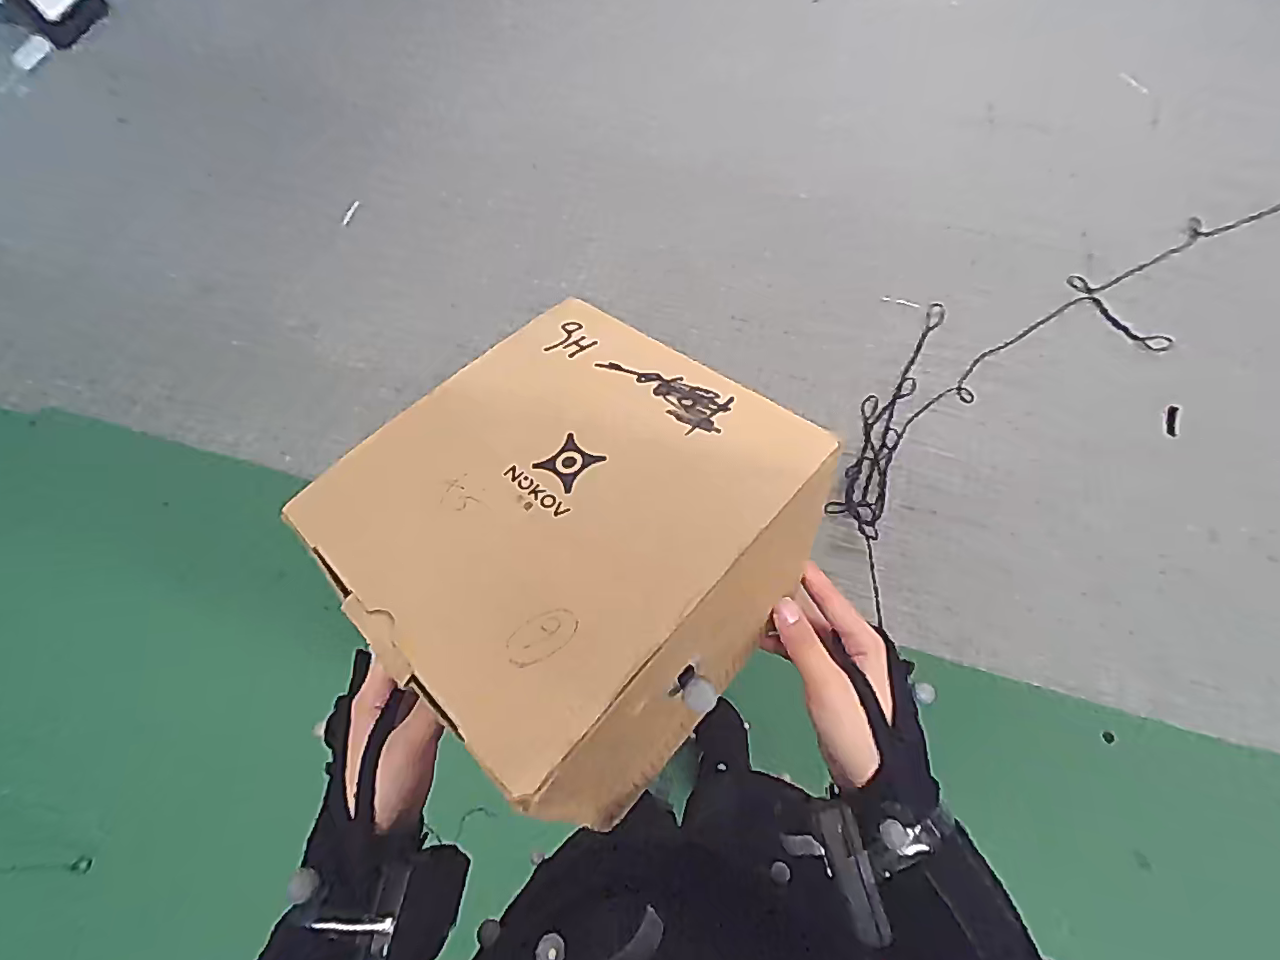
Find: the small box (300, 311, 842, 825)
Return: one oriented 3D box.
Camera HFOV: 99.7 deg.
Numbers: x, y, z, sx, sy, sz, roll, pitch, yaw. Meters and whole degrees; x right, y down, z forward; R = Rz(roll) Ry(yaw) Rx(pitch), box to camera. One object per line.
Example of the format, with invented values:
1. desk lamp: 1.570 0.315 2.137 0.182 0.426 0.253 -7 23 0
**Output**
1. small box: -0.022 0.051 0.289 0.168 0.176 0.179 35 67 28
